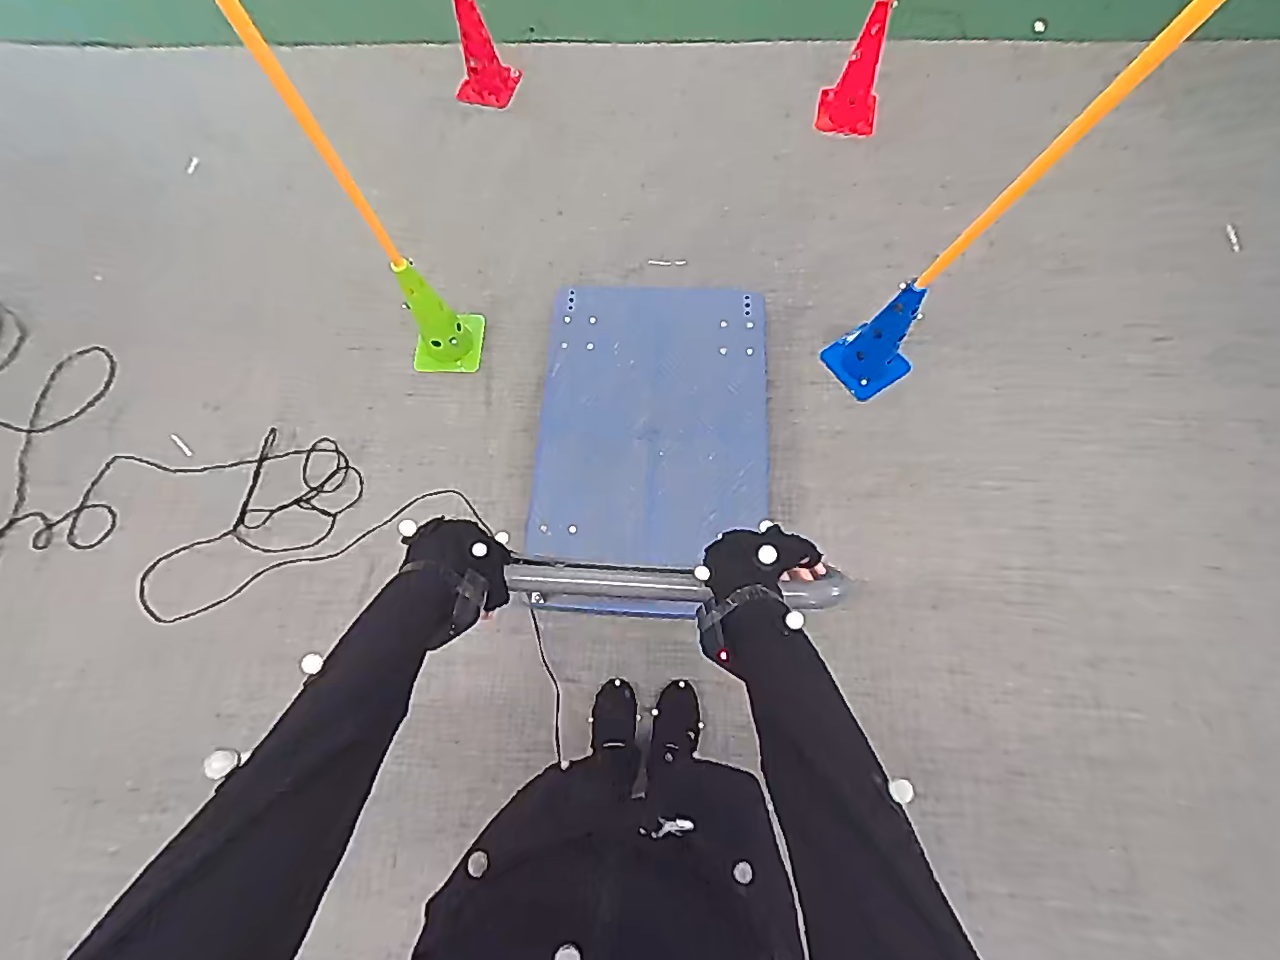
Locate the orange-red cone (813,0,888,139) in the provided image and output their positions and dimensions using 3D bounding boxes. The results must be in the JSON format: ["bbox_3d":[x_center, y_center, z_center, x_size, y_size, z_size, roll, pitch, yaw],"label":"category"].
[{"bbox_3d":[0.706,-1.323,1.722,0.198,0.360,0.199,12,74,7],"label":"orange-red cone"}]
